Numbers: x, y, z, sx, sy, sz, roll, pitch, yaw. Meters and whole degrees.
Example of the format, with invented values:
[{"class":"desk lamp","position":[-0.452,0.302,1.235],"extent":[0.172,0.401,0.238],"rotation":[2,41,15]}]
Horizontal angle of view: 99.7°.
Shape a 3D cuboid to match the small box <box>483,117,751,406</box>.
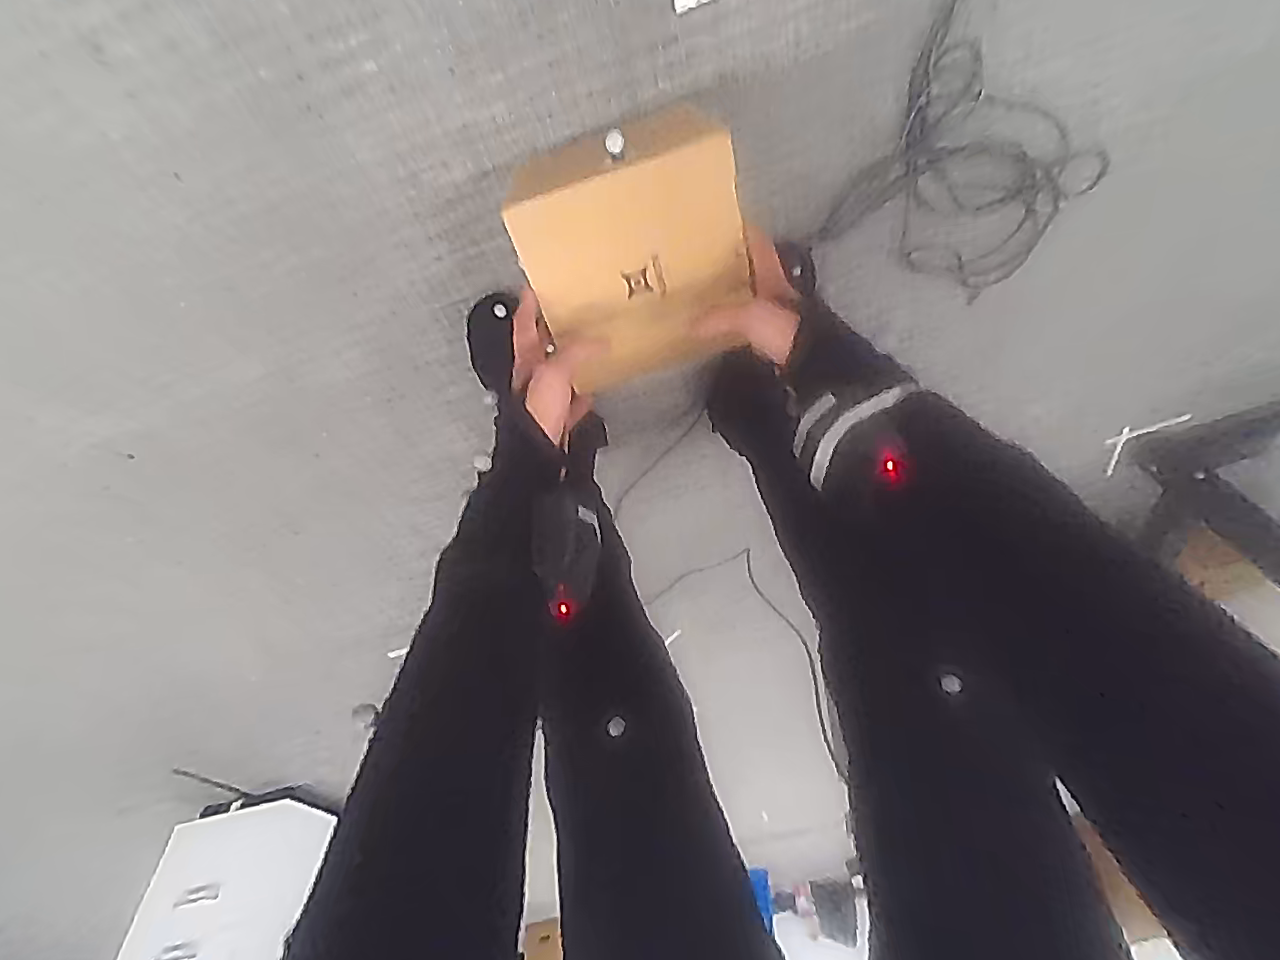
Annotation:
[{"class":"small box","position":[-0.017,-0.198,0.483],"extent":[0.179,0.176,0.168],"rotation":[-18,130,5]}]
